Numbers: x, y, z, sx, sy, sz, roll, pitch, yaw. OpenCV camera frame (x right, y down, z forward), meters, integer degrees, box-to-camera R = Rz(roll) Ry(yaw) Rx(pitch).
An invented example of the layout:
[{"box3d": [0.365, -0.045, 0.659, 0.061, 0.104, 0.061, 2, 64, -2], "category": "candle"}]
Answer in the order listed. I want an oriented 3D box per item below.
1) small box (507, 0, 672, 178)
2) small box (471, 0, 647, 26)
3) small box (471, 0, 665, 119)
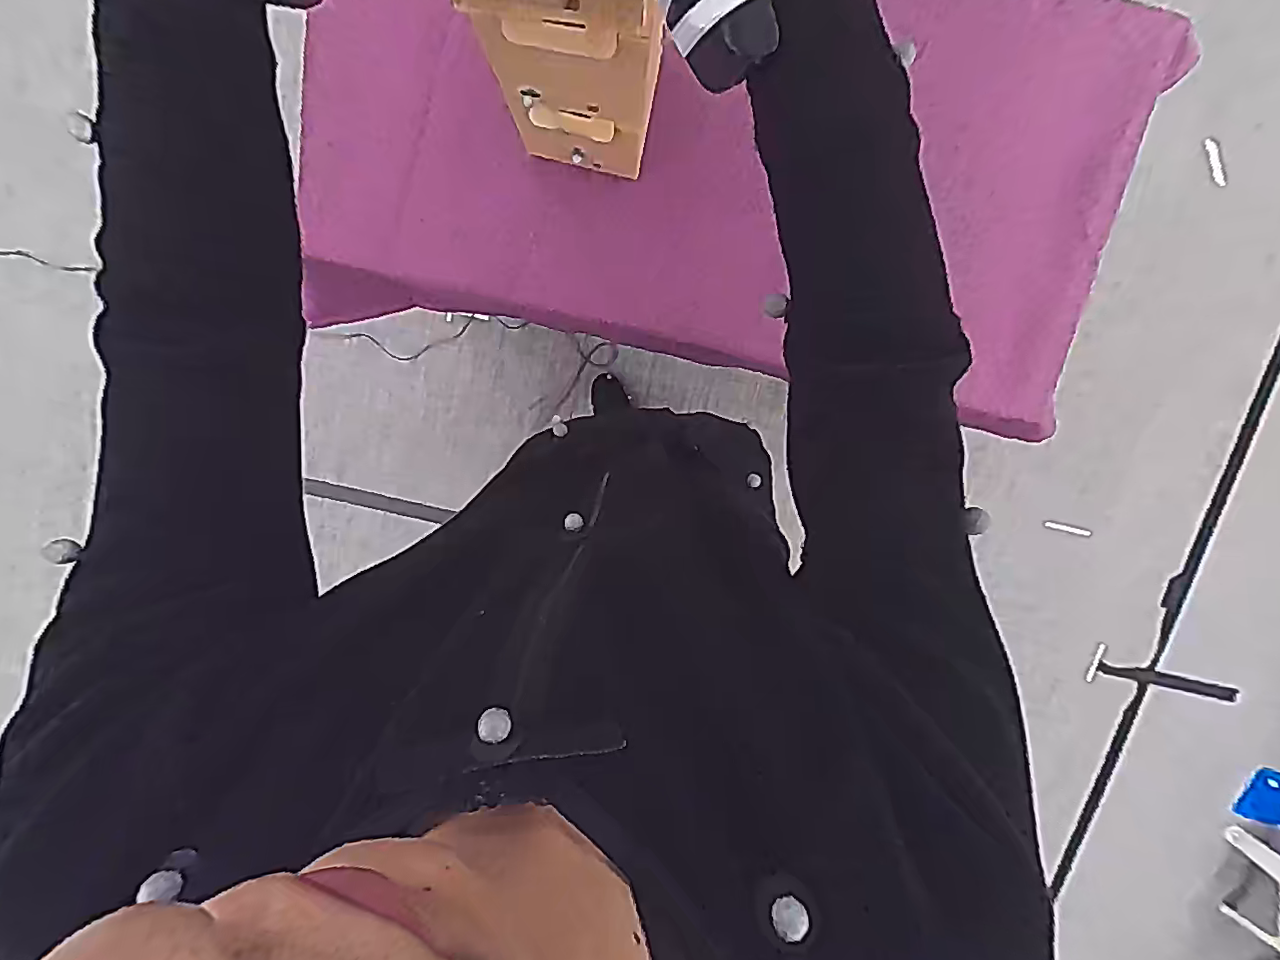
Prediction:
[{"box3d": [-0.061, -0.528, 0.700, 0.168, 0.176, 0.179, 12, 101, -4], "category": "small box"}, {"box3d": [-0.067, -0.473, 0.377, 0.168, 0.176, 0.179, 4, 101, -3], "category": "small box"}, {"box3d": [-0.057, -0.498, 0.538, 0.168, 0.176, 0.179, 8, 100, -3], "category": "small box"}]
